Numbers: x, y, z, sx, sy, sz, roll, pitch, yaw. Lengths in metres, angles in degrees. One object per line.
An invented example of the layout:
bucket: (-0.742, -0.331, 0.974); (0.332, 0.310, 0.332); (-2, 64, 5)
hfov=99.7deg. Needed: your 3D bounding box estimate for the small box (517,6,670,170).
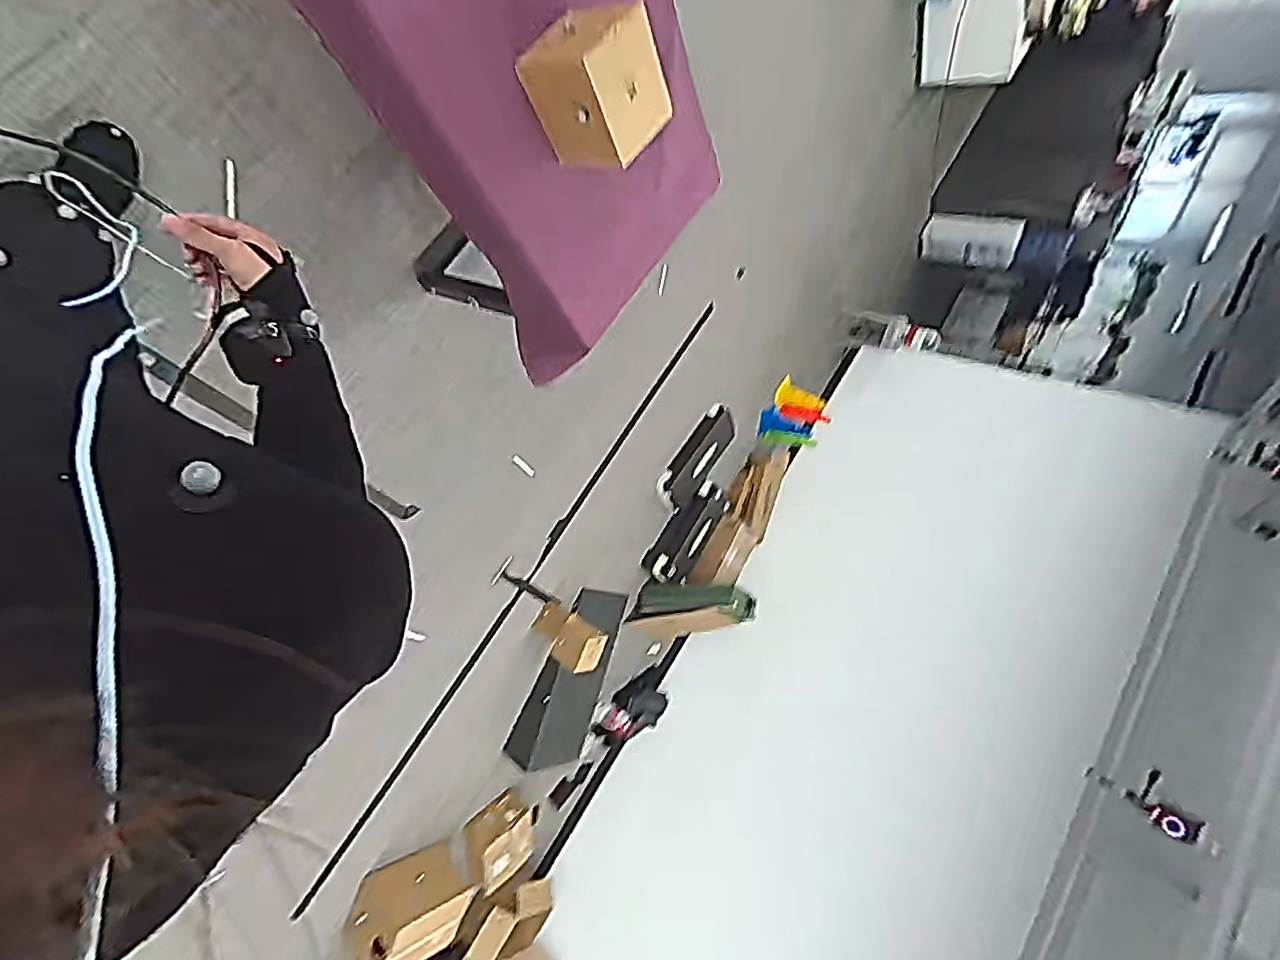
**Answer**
small box: (-0.079, -0.683, 0.953); (0.168, 0.176, 0.179); (-55, 145, -15)
